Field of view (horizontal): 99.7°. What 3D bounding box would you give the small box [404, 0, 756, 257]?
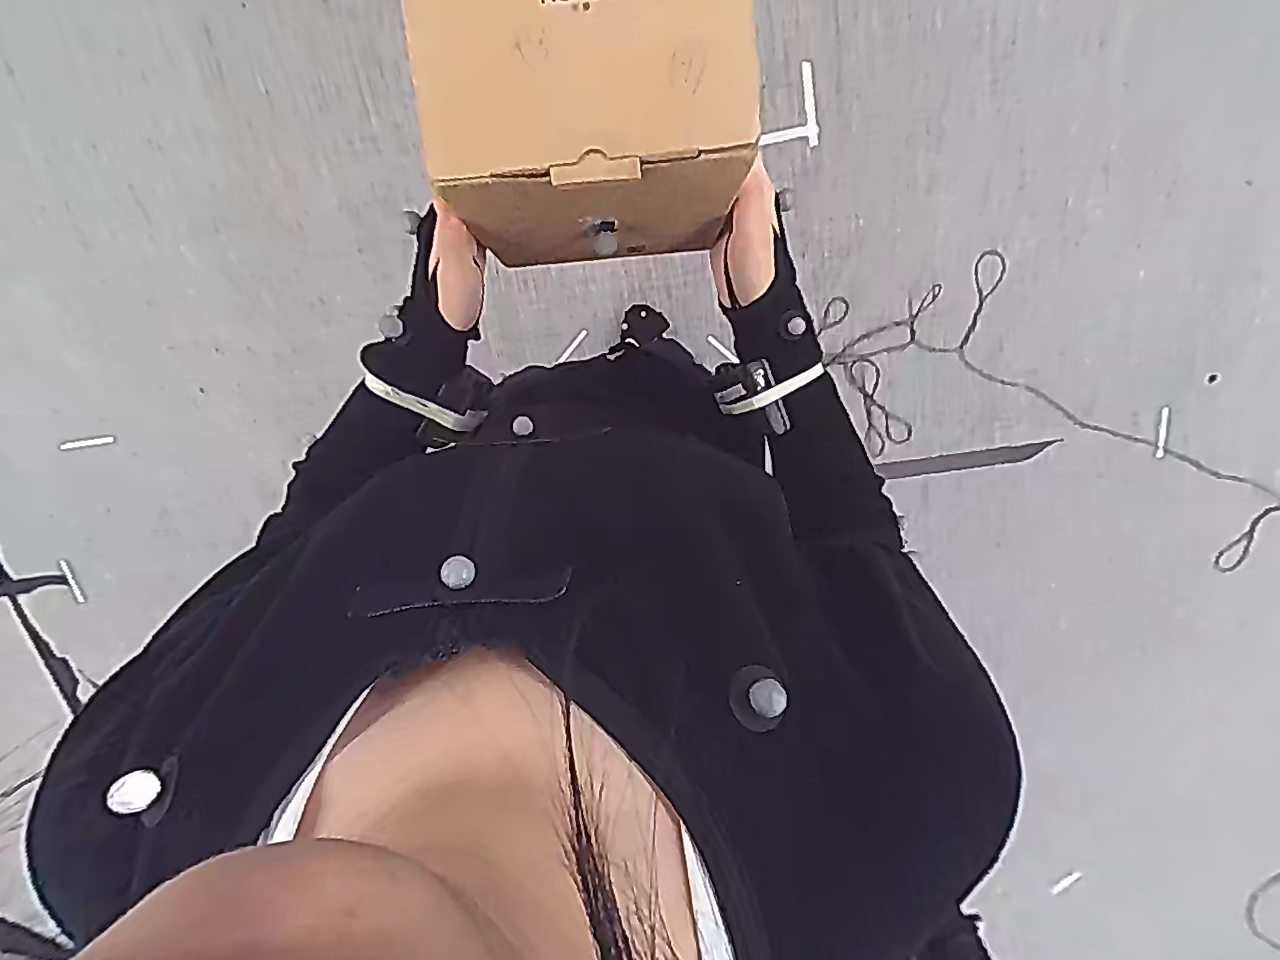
[{"bbox_3d":[-0.031,-0.247,0.332,0.168,0.176,0.179,-6,99,-1],"label":"small box"}]
